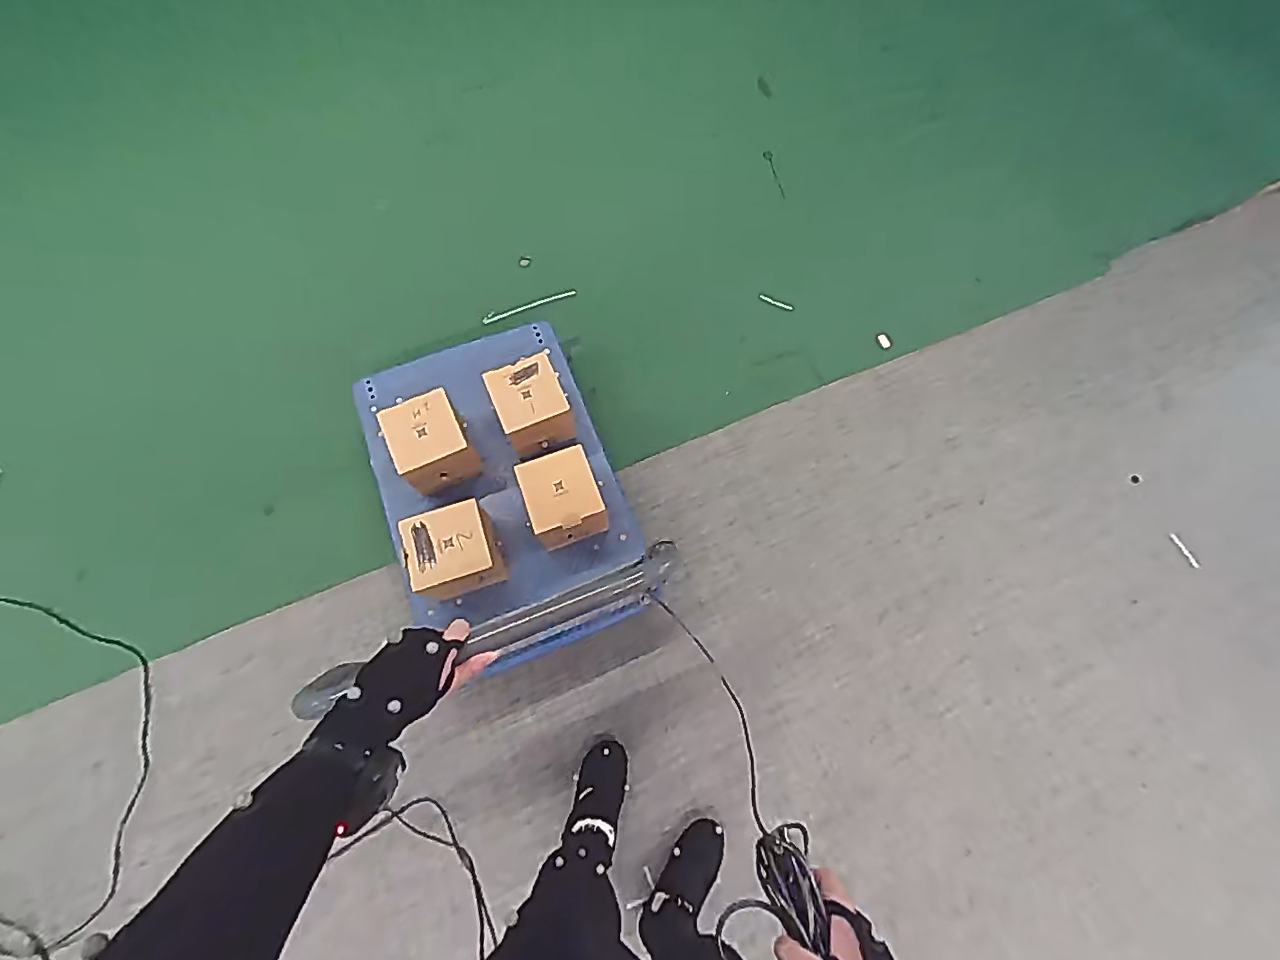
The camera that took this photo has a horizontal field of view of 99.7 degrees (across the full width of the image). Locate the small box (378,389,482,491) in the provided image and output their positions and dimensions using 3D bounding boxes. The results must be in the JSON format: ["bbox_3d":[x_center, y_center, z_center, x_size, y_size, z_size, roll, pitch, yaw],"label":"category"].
[{"bbox_3d":[-0.507,-0.088,1.326,0.168,0.176,0.179,-24,73,-10],"label":"small box"}]

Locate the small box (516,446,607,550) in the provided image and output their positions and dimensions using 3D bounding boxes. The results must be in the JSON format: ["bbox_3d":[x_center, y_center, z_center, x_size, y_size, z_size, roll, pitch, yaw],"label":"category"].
[{"bbox_3d":[-0.183,0.048,1.290,0.168,0.176,0.179,-19,74,-8],"label":"small box"}]

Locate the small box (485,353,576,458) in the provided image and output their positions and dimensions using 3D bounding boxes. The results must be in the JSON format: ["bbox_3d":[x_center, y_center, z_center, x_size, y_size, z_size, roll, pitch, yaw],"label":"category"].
[{"bbox_3d":[-0.271,-0.183,1.365,0.168,0.176,0.179,-22,74,-8],"label":"small box"}]
